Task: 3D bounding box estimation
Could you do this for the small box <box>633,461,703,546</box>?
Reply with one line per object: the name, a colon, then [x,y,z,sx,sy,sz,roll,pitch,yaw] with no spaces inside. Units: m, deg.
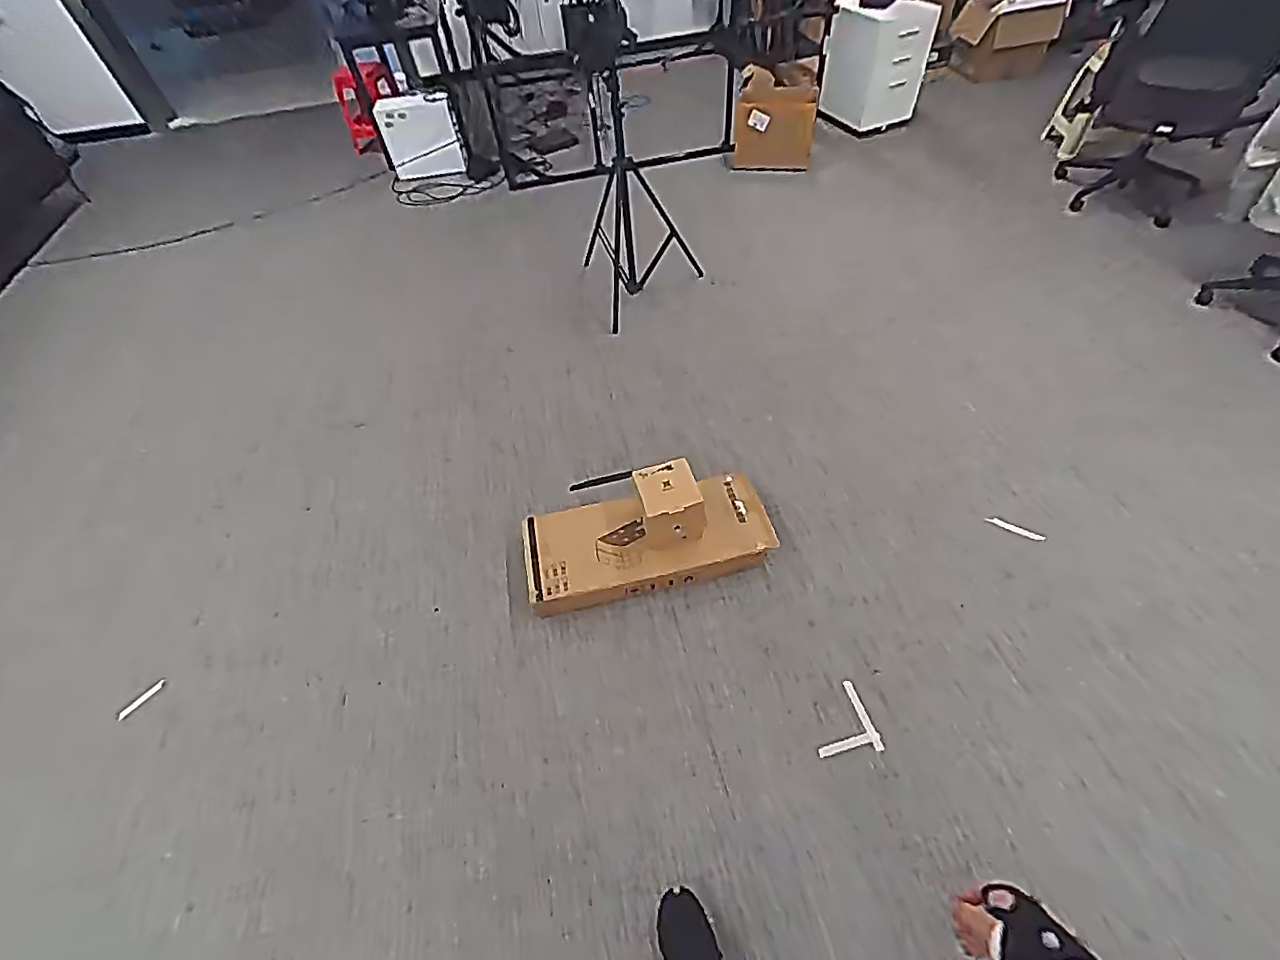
small box: [0.083,0.076,1.586,0.168,0.176,0.179,-14,52,-6]
